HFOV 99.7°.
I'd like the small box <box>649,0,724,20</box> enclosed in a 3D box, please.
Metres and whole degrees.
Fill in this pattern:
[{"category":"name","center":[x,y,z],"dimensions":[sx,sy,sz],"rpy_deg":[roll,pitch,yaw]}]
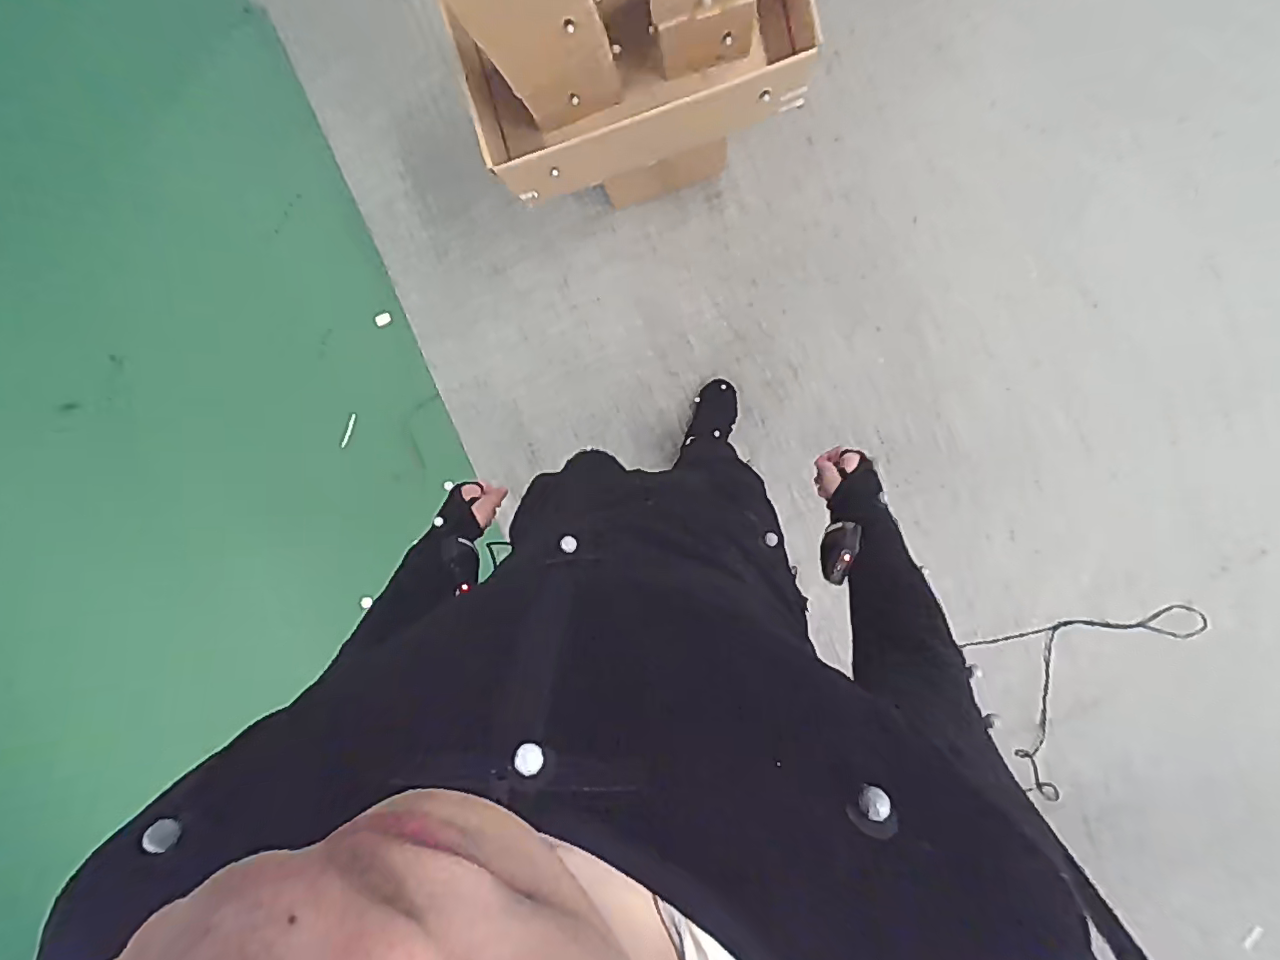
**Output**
[{"category":"small box","center":[0.080,-0.830,0.786],"dimensions":[0.179,0.176,0.168],"rpy_deg":[-10,100,11]}]

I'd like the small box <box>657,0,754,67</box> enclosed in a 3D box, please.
[{"category":"small box","center":[0.106,-0.864,0.943],"dimensions":[0.168,0.176,0.179],"rpy_deg":[-9,100,10]}]

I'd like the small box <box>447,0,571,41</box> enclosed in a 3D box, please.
[{"category":"small box","center":[-0.187,-0.716,0.682],"dimensions":[0.179,0.176,0.168],"rpy_deg":[-15,99,11]}]
